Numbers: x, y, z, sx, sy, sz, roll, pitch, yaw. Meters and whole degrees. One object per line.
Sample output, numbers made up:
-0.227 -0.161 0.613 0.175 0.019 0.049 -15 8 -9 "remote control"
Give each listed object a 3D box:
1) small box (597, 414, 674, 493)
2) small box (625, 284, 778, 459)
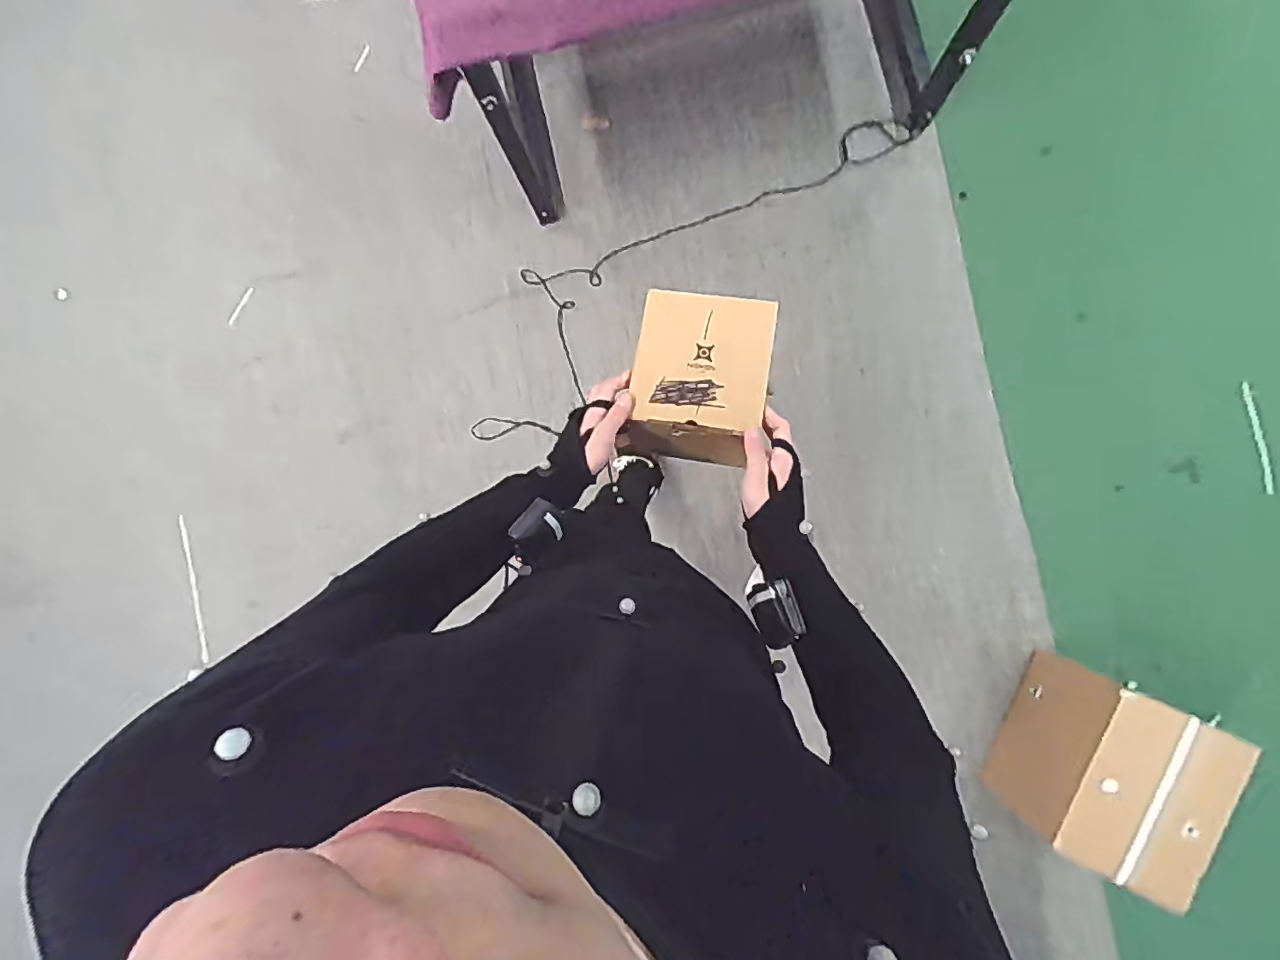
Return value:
-0.004 -0.072 1.574 0.168 0.176 0.179 24 91 9 "small box"
0.086 -0.137 0.735 0.168 0.176 0.179 9 79 9 "small box"
